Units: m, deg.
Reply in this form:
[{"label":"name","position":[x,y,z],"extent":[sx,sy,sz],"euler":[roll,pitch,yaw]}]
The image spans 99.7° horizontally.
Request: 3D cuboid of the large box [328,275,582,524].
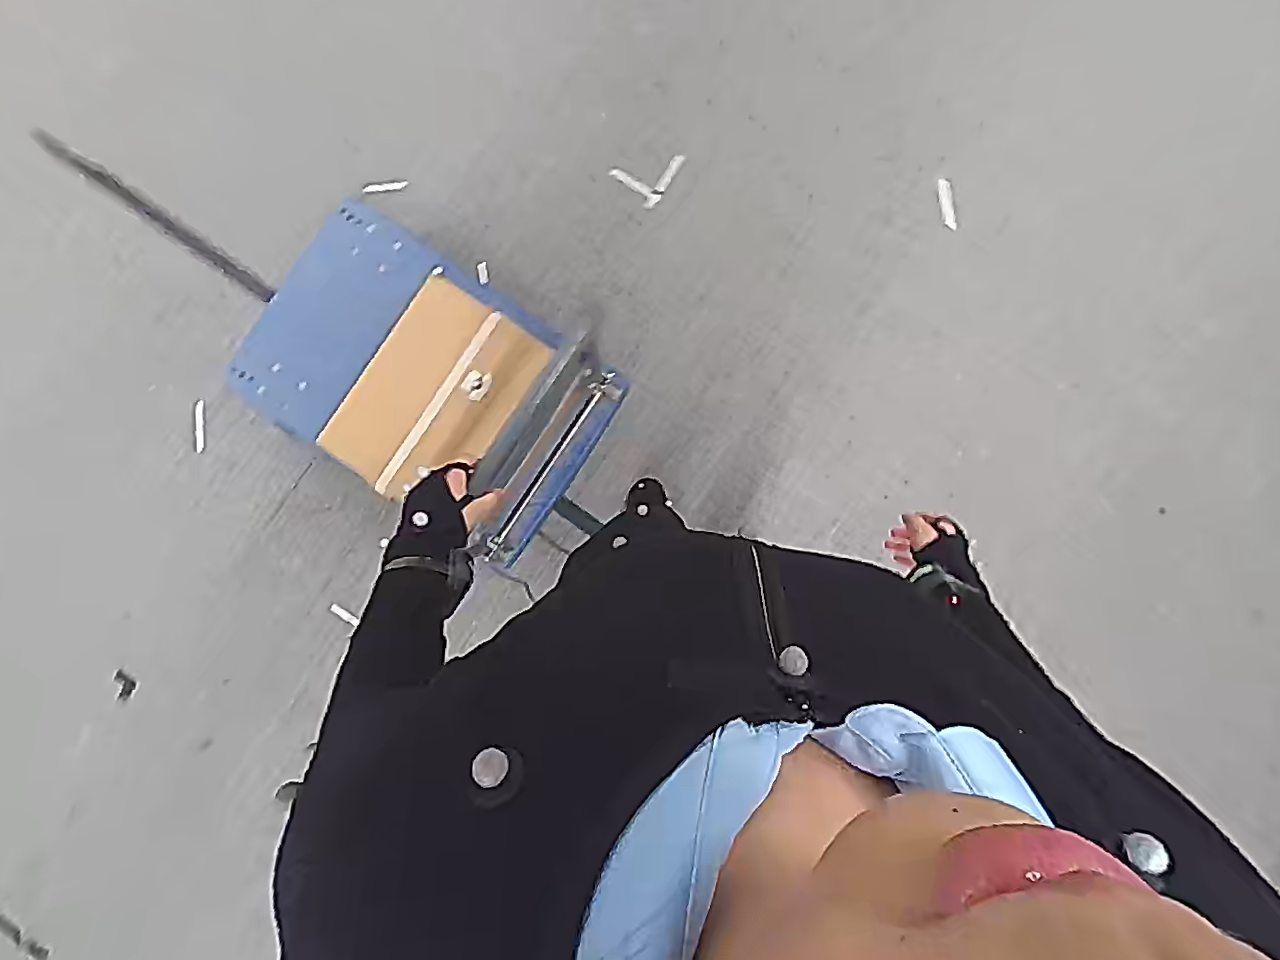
[{"label":"large box","position":[-0.376,-0.150,1.200],"extent":[0.320,0.320,0.408],"euler":[34,88,1]}]
